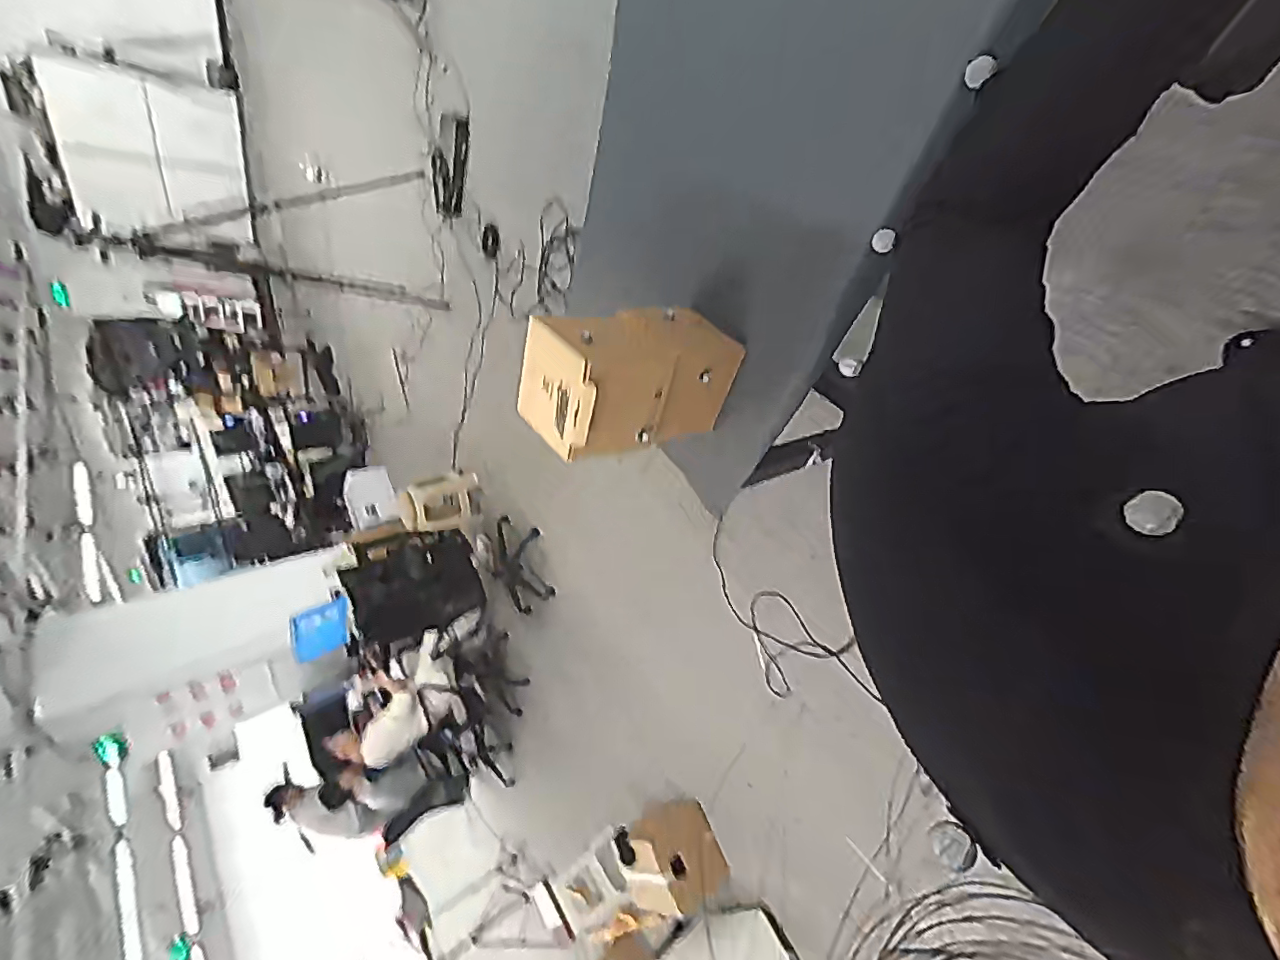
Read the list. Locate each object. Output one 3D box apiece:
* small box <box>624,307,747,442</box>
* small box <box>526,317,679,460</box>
[{"bbox_3d":[0.065,-0.194,0.973,0.168,0.176,0.179,47,134,33],"label":"small box"},{"bbox_3d":[-0.063,-0.156,0.877,0.179,0.176,0.168,44,131,37],"label":"small box"}]
